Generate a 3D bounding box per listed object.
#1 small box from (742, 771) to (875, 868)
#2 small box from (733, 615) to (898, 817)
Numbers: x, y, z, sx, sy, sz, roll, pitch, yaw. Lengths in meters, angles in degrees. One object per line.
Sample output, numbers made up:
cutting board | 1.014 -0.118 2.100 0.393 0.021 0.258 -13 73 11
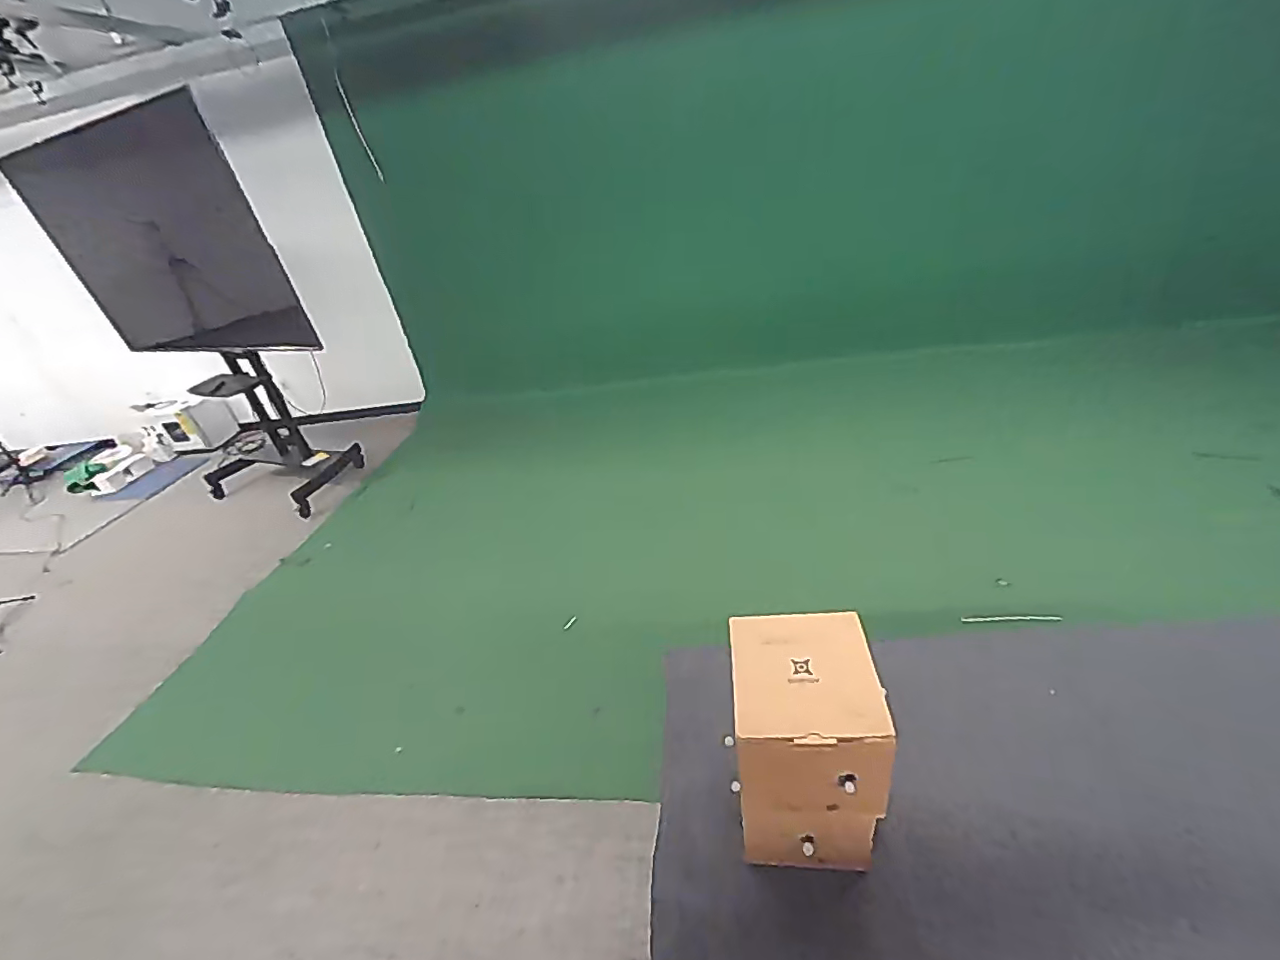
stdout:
small box | 0.234 0.423 0.775 0.168 0.176 0.179 -3 33 11
small box | 0.208 0.294 0.678 0.168 0.176 0.179 -4 31 9
